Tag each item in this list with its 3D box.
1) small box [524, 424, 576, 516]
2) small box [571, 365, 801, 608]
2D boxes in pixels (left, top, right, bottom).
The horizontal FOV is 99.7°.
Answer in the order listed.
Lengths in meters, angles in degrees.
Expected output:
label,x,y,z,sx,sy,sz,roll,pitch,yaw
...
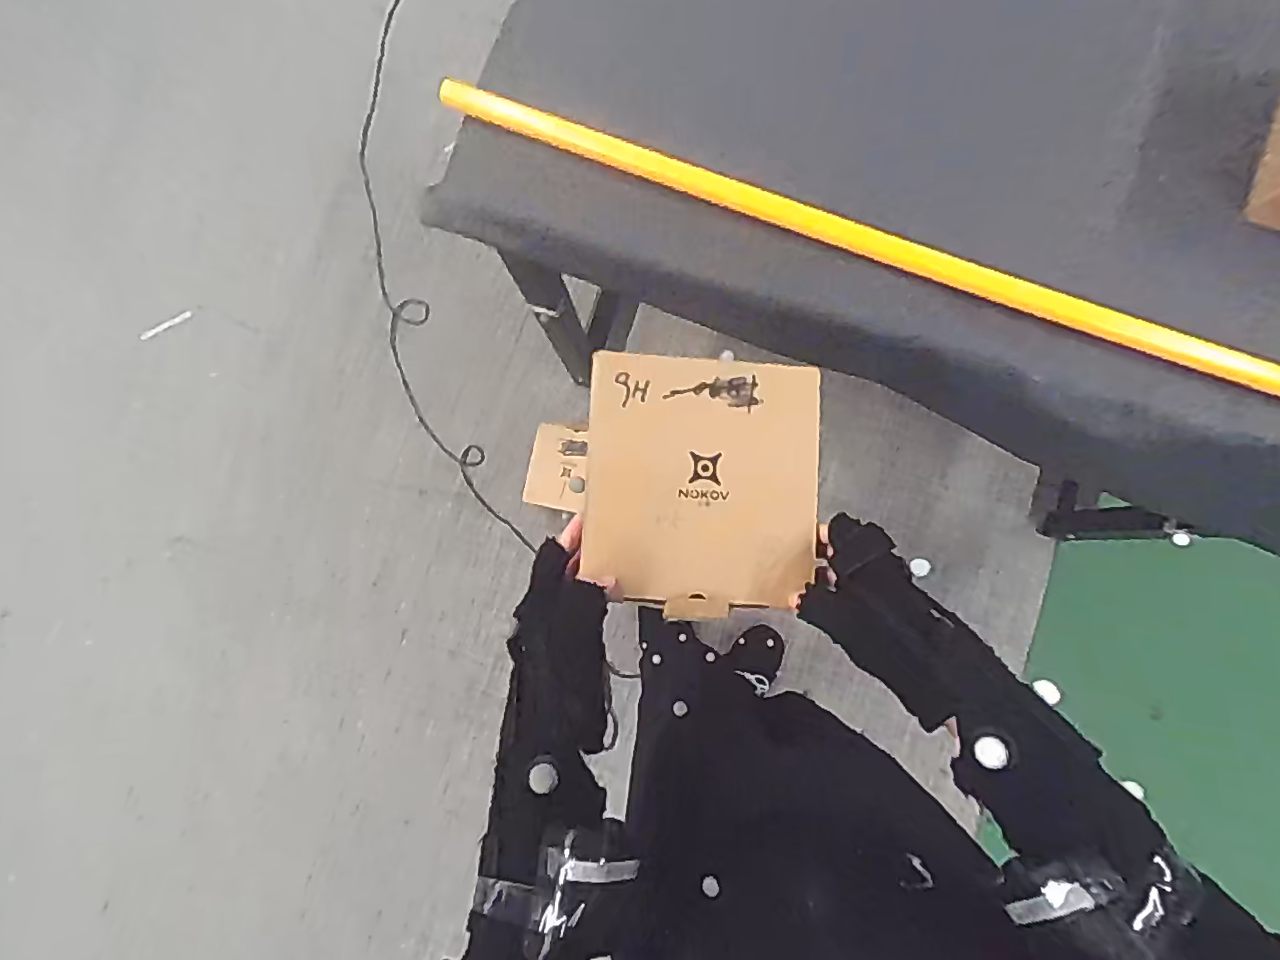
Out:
label,x,y,z,sx,sy,sz,roll,pitch,yaw
small box,-0.143,-0.010,1.209,0.168,0.176,0.179,11,84,5
small box,0.032,0.010,0.468,0.168,0.176,0.179,0,85,-3
